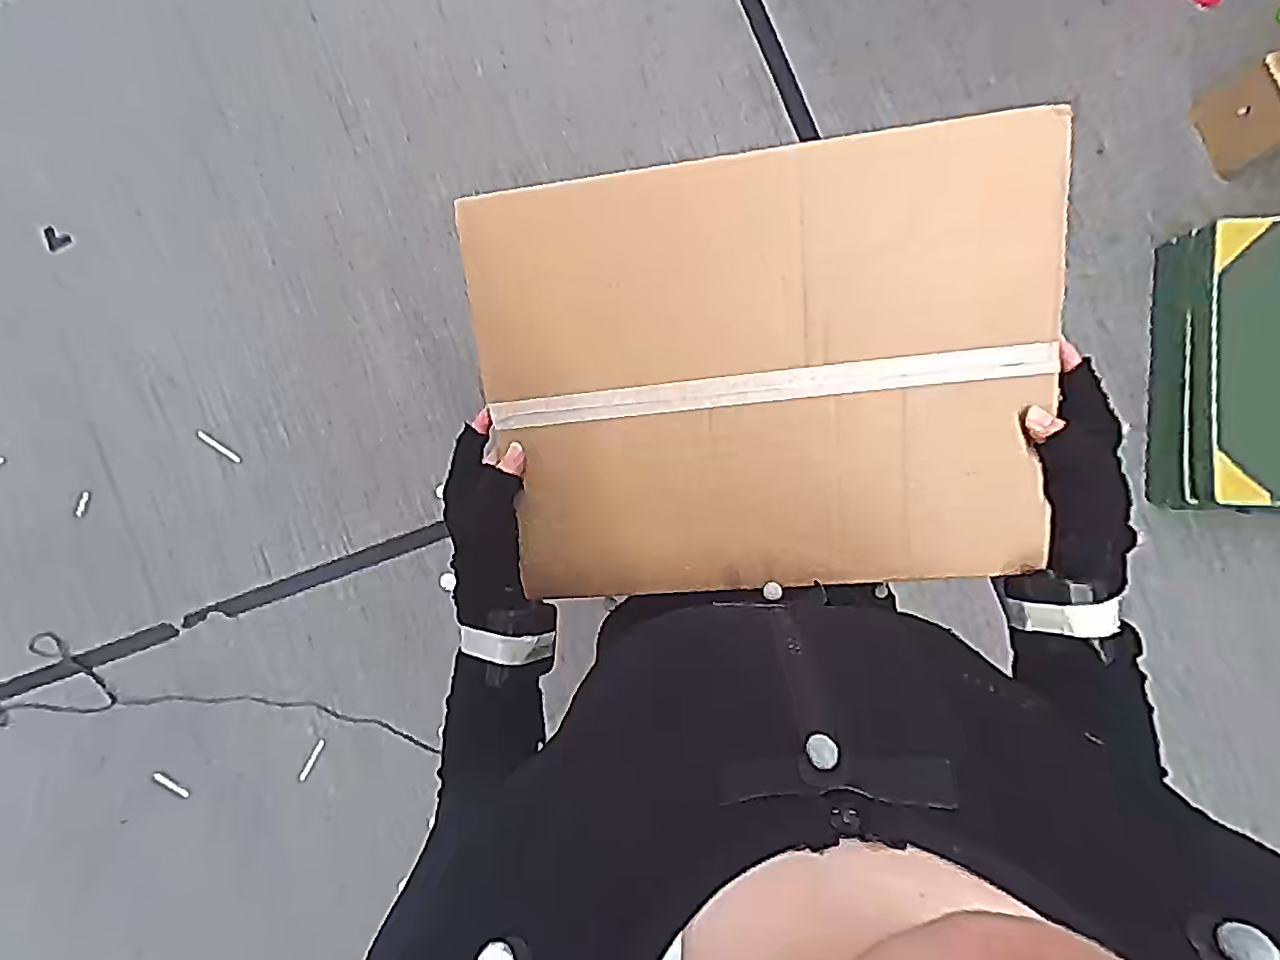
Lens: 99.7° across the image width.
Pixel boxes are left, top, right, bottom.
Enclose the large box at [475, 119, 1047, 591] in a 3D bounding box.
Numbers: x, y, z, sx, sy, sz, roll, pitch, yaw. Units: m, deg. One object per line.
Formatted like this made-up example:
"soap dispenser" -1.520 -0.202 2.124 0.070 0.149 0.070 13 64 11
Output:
"large box" 0.102 -0.104 0.554 0.408 0.320 0.320 -5 104 7
